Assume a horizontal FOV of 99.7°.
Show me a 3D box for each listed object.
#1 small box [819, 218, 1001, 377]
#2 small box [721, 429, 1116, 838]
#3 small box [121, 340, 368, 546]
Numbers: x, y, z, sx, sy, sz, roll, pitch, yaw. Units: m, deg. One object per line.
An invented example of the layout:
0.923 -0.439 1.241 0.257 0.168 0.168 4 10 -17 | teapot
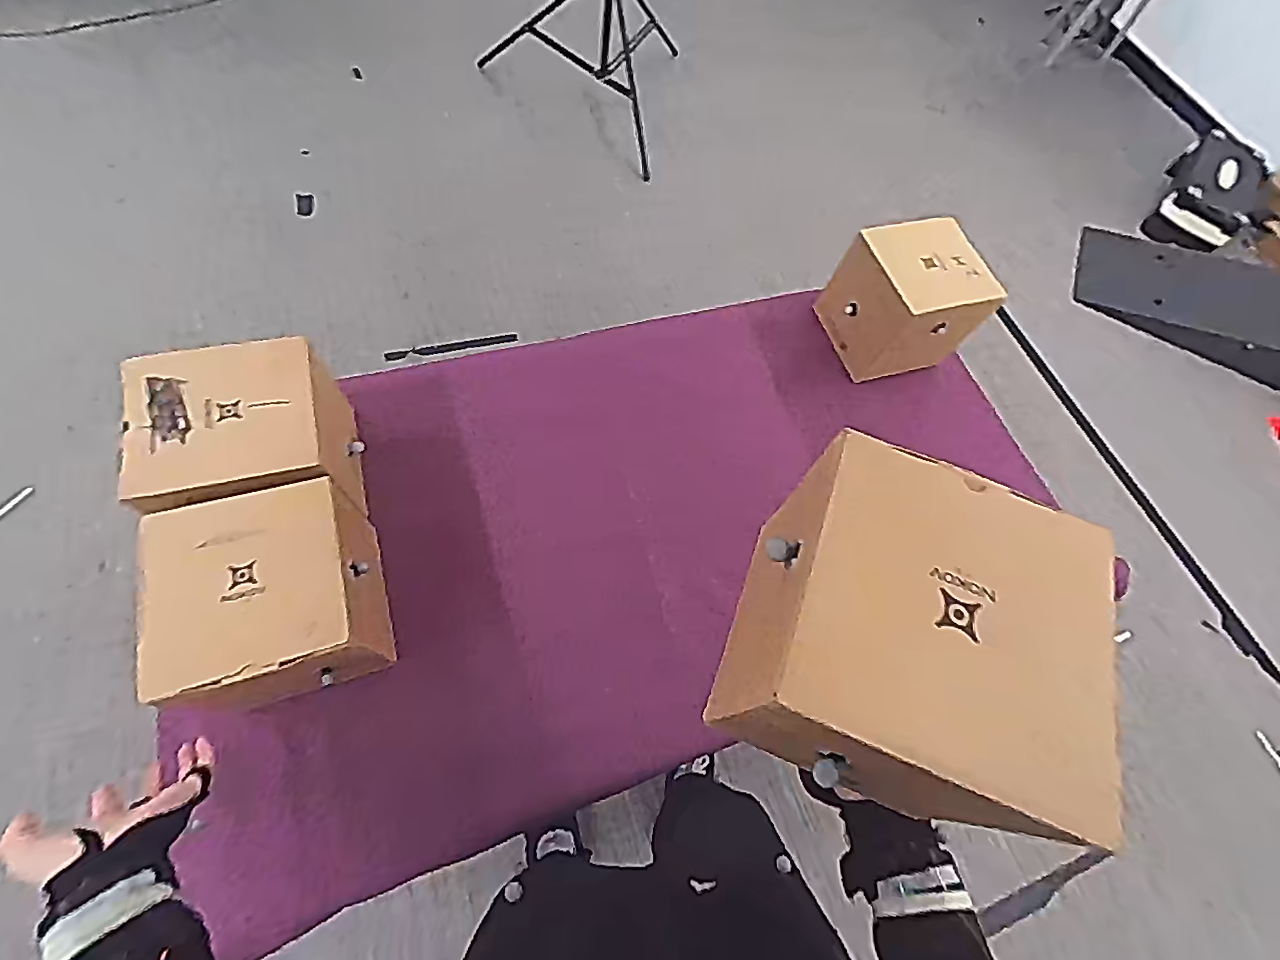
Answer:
0.413 -0.286 0.869 0.179 0.176 0.168 -14 69 -15 | small box
0.165 0.103 0.364 0.168 0.176 0.179 22 61 5 | small box
-0.442 -0.035 0.629 0.179 0.176 0.168 -13 70 -15 | small box
